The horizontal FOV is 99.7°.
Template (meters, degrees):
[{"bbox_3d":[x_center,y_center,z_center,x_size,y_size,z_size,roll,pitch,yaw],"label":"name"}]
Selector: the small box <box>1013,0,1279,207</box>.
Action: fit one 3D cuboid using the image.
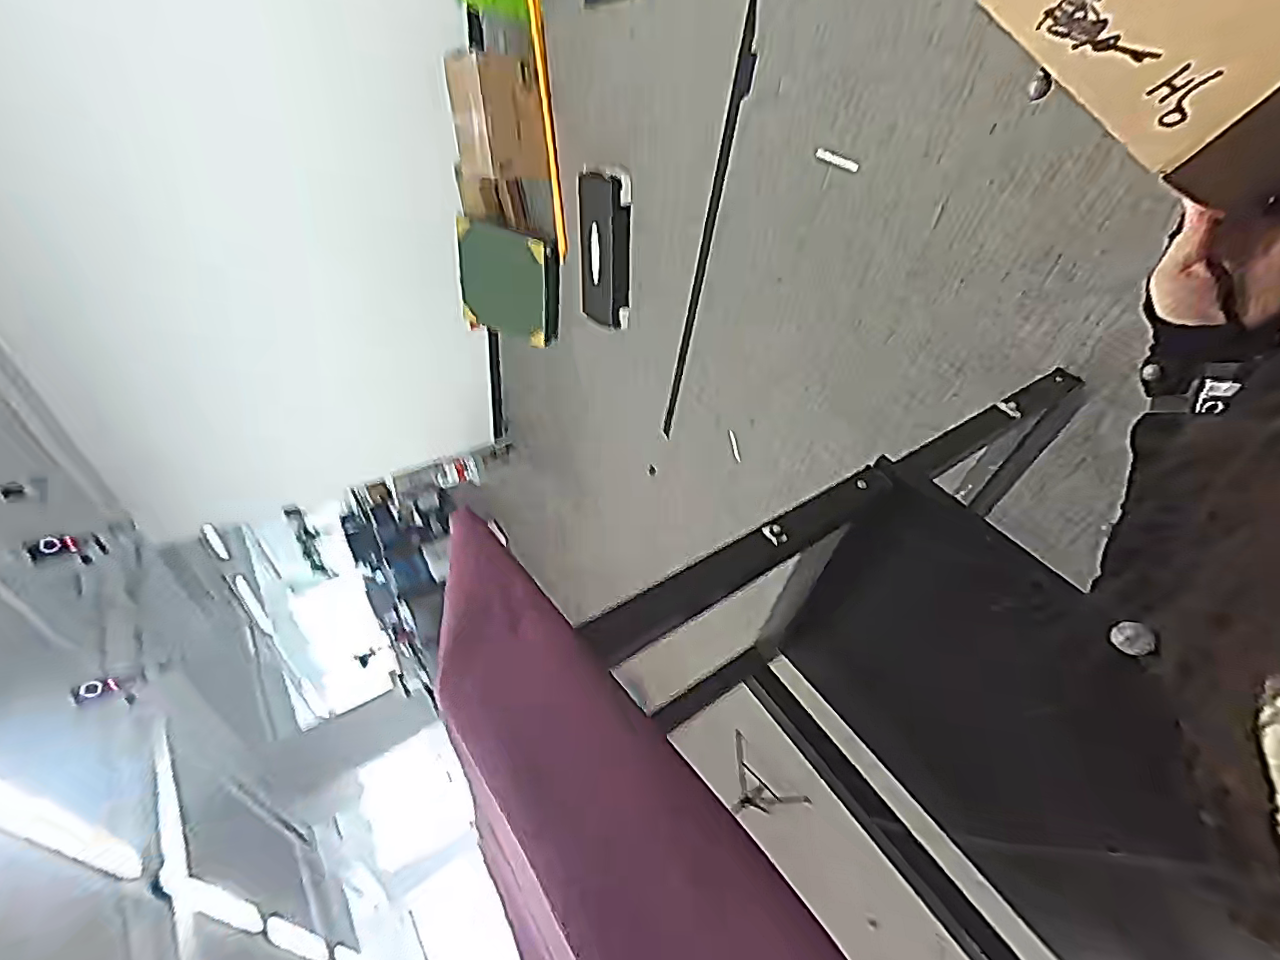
[{"bbox_3d":[0.328,-0.270,0.263,0.179,0.176,0.168,-45,60,50],"label":"small box"}]
